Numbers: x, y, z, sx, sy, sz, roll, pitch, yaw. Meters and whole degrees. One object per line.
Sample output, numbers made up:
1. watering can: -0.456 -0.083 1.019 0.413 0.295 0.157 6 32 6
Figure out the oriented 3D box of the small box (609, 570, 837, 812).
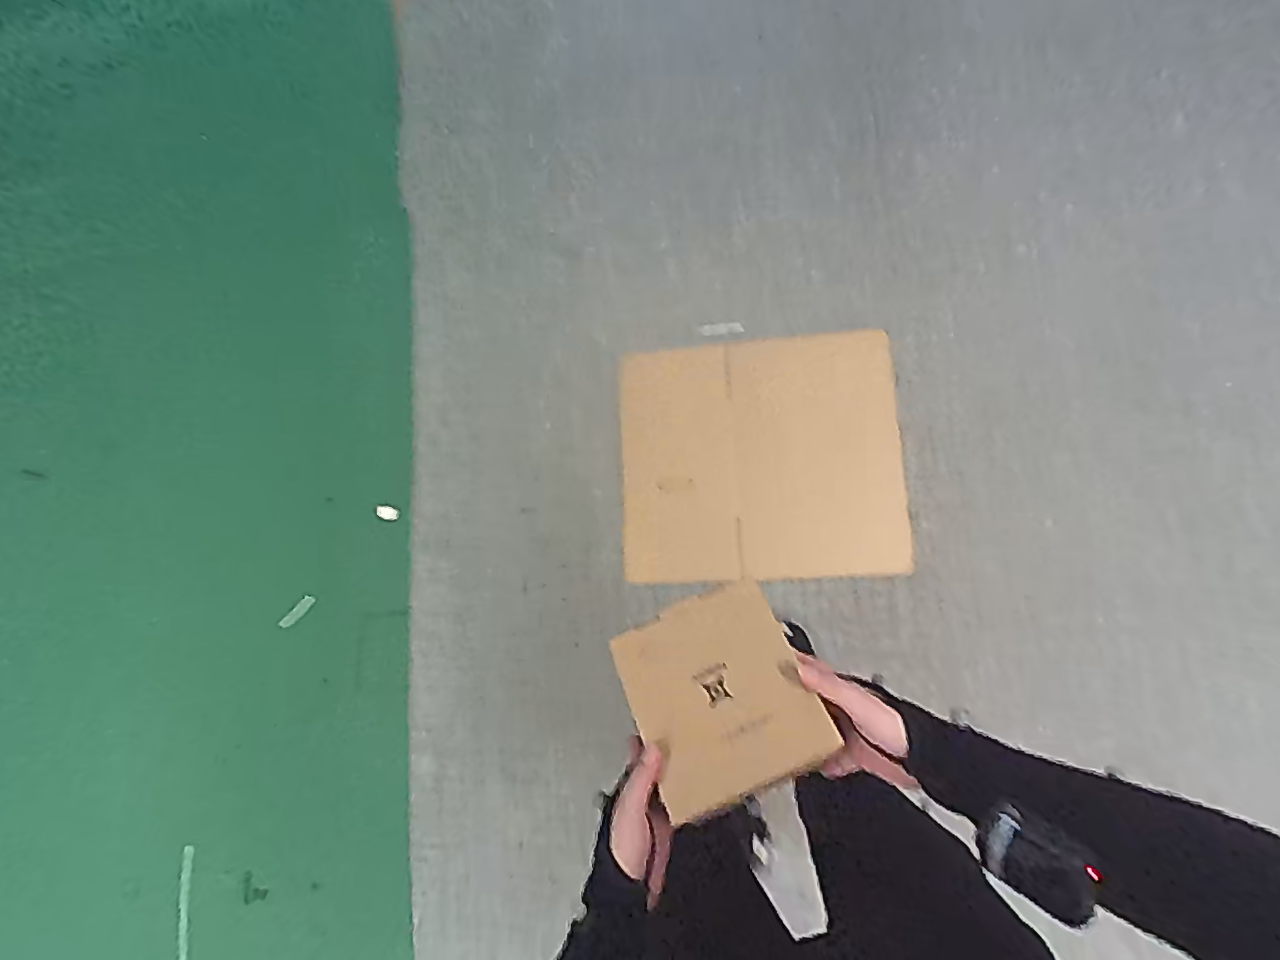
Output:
1. small box: 0.086 0.230 0.576 0.168 0.176 0.179 -24 55 1
